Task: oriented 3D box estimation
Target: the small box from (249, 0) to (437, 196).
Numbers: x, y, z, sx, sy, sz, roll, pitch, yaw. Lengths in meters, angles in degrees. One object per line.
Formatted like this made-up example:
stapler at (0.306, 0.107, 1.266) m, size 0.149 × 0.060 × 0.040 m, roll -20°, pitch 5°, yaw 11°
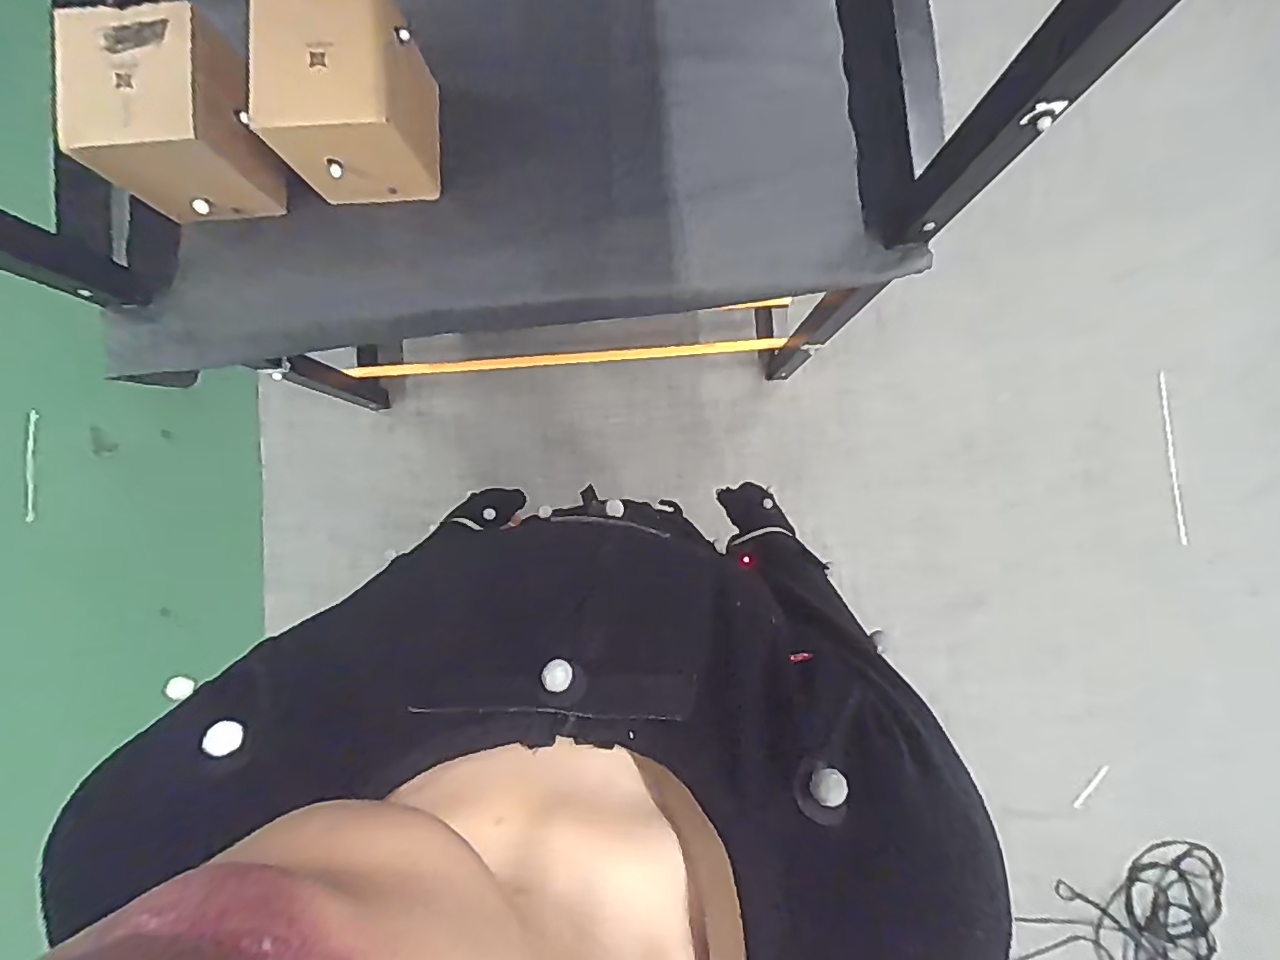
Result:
small box at (-0.383, -0.504, 0.724) m, size 0.168 × 0.176 × 0.179 m, roll -3°, pitch 86°, yaw 0°

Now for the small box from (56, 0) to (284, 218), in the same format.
small box at (-0.609, -0.481, 0.722) m, size 0.168 × 0.176 × 0.179 m, roll -4°, pitch 87°, yaw 0°
